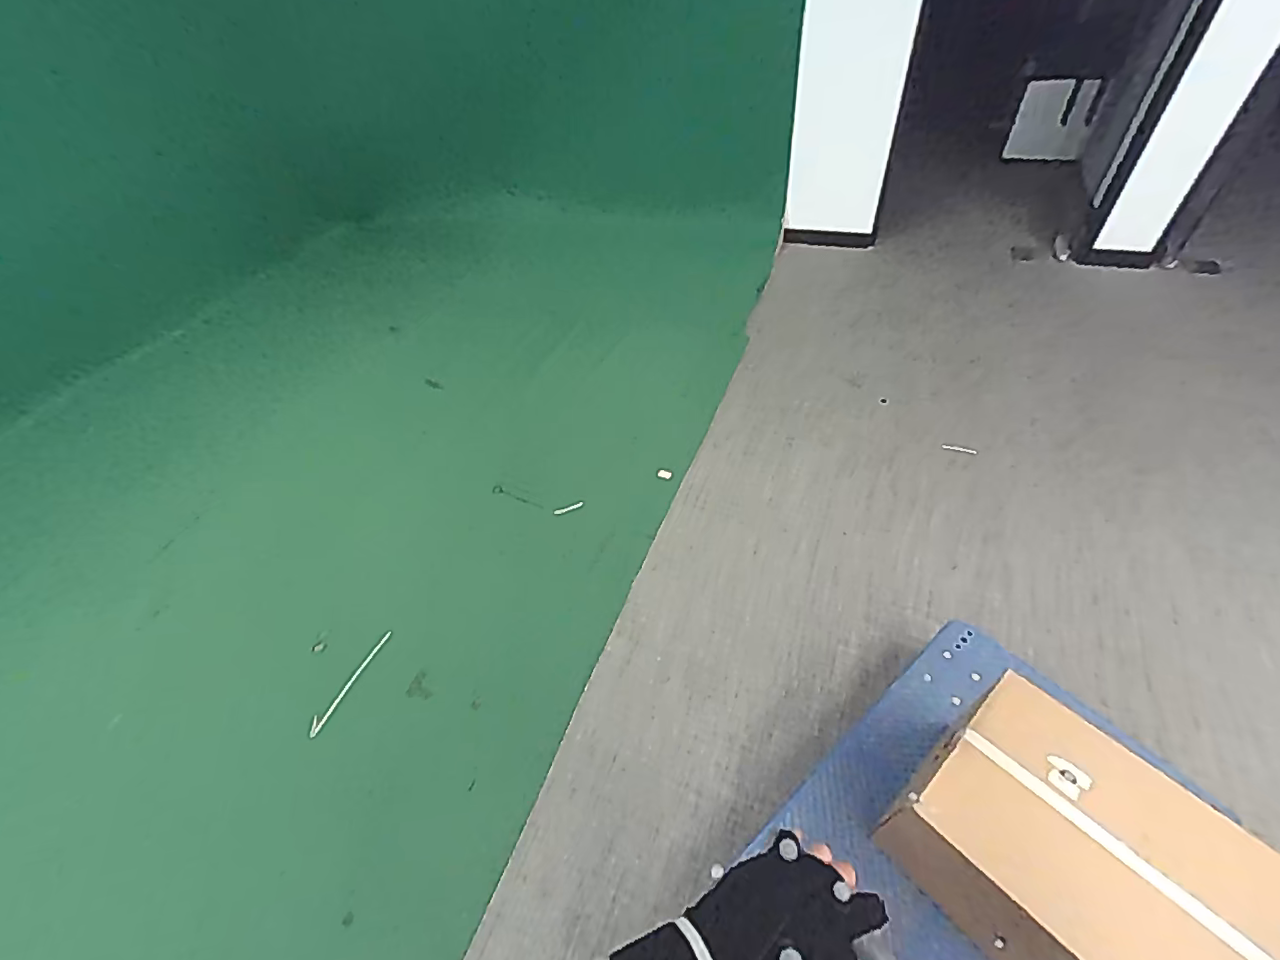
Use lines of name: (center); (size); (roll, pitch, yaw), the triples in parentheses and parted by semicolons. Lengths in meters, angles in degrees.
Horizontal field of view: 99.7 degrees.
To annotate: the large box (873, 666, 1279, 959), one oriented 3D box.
large box: (0.680, 0.609, 0.911); (0.320, 0.320, 0.408); (-37, 53, -22)
